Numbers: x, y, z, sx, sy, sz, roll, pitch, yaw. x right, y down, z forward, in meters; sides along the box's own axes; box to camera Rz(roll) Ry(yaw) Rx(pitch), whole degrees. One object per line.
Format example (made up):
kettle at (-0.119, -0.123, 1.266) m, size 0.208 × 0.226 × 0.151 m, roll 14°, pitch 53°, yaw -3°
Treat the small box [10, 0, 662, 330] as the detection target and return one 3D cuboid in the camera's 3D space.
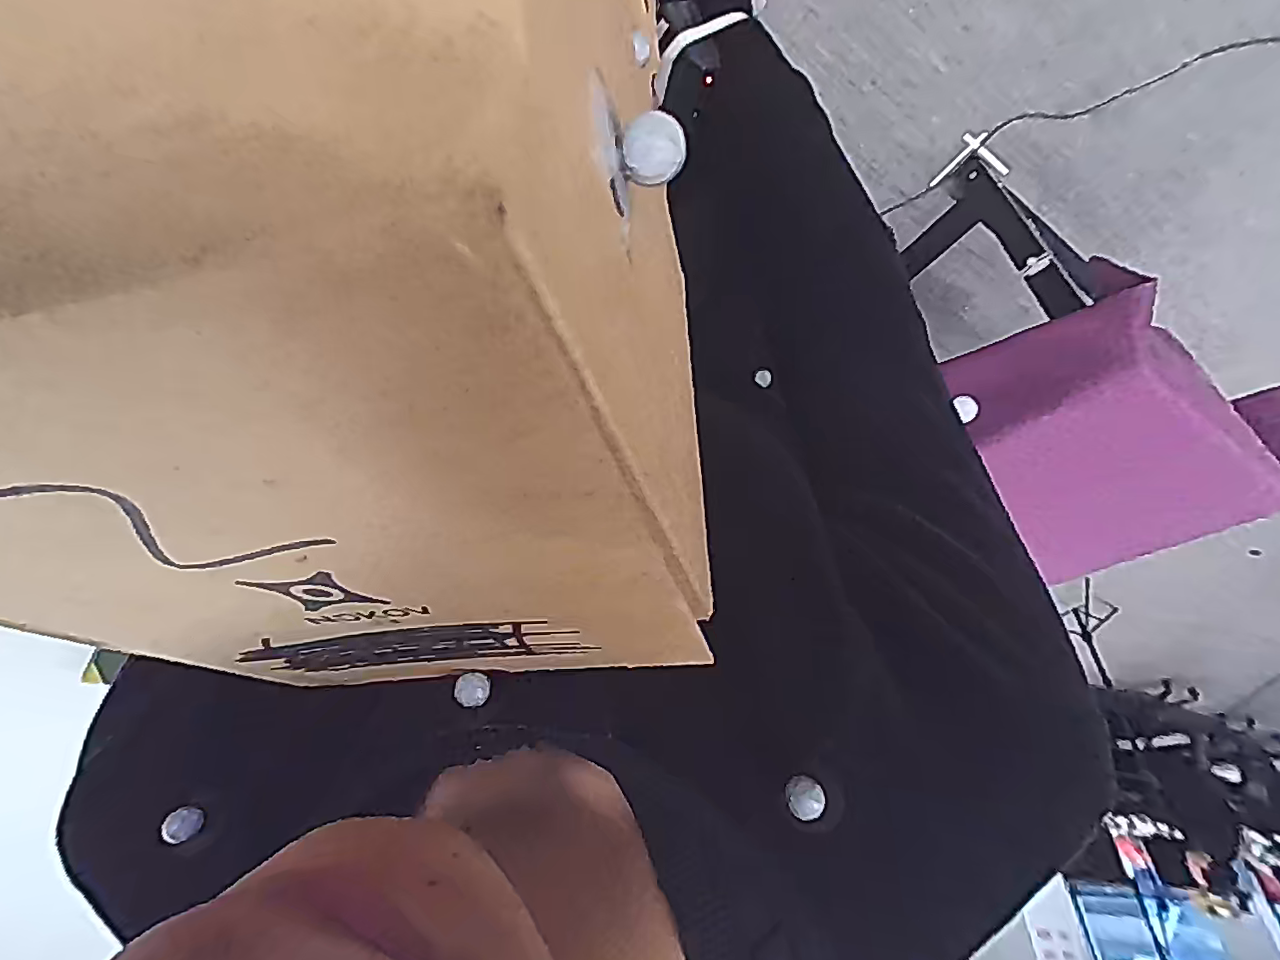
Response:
small box at (-0.090, -0.198, 0.229) m, size 0.168 × 0.176 × 0.179 m, roll -9°, pitch 152°, yaw 13°
